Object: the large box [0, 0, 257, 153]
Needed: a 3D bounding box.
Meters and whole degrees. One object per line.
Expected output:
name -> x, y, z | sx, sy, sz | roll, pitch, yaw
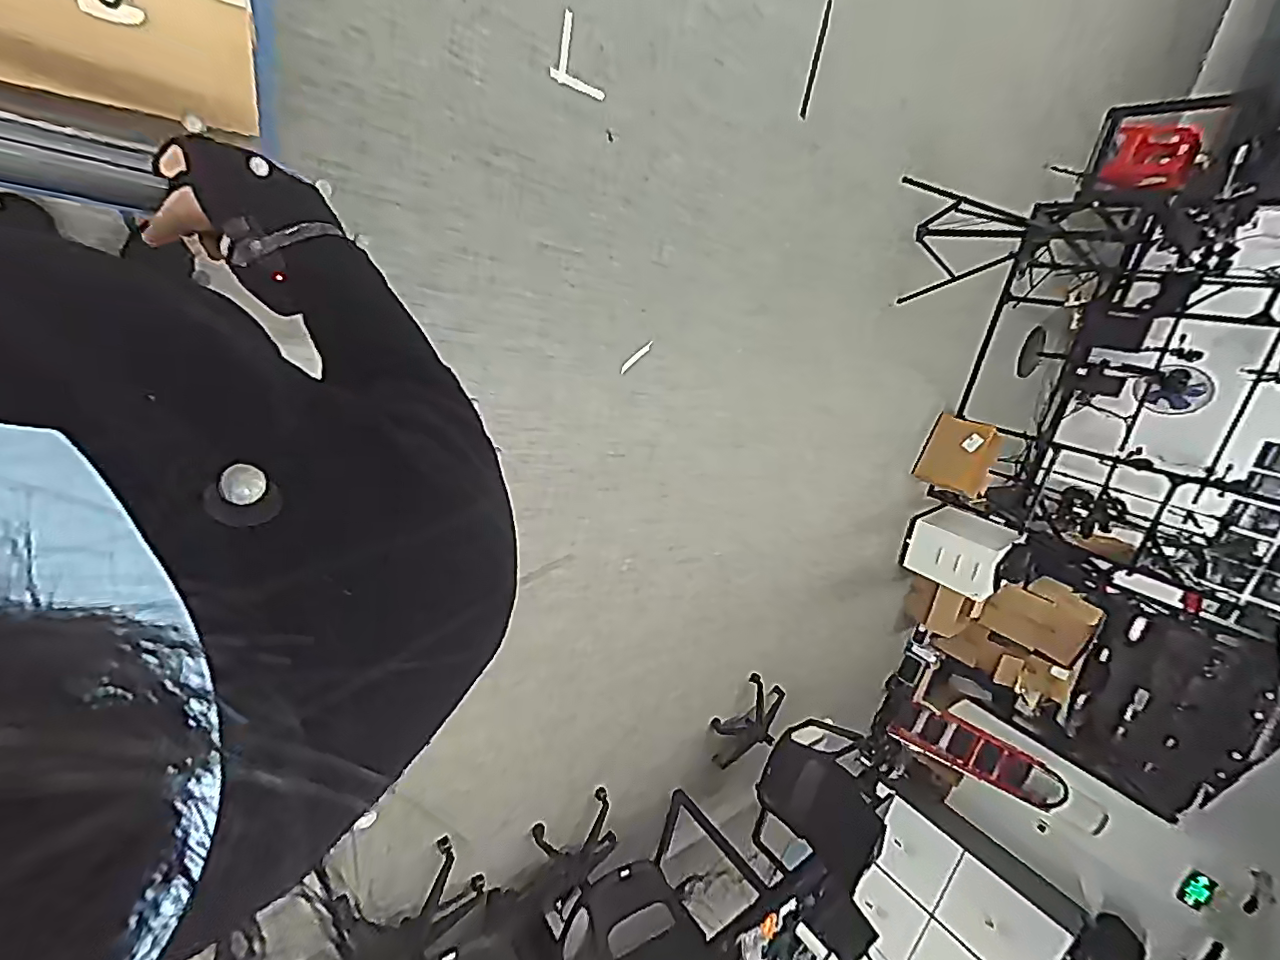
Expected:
large box -> -0.766, -0.646, 0.685 | 0.408, 0.320, 0.320 | -10, 117, -40
